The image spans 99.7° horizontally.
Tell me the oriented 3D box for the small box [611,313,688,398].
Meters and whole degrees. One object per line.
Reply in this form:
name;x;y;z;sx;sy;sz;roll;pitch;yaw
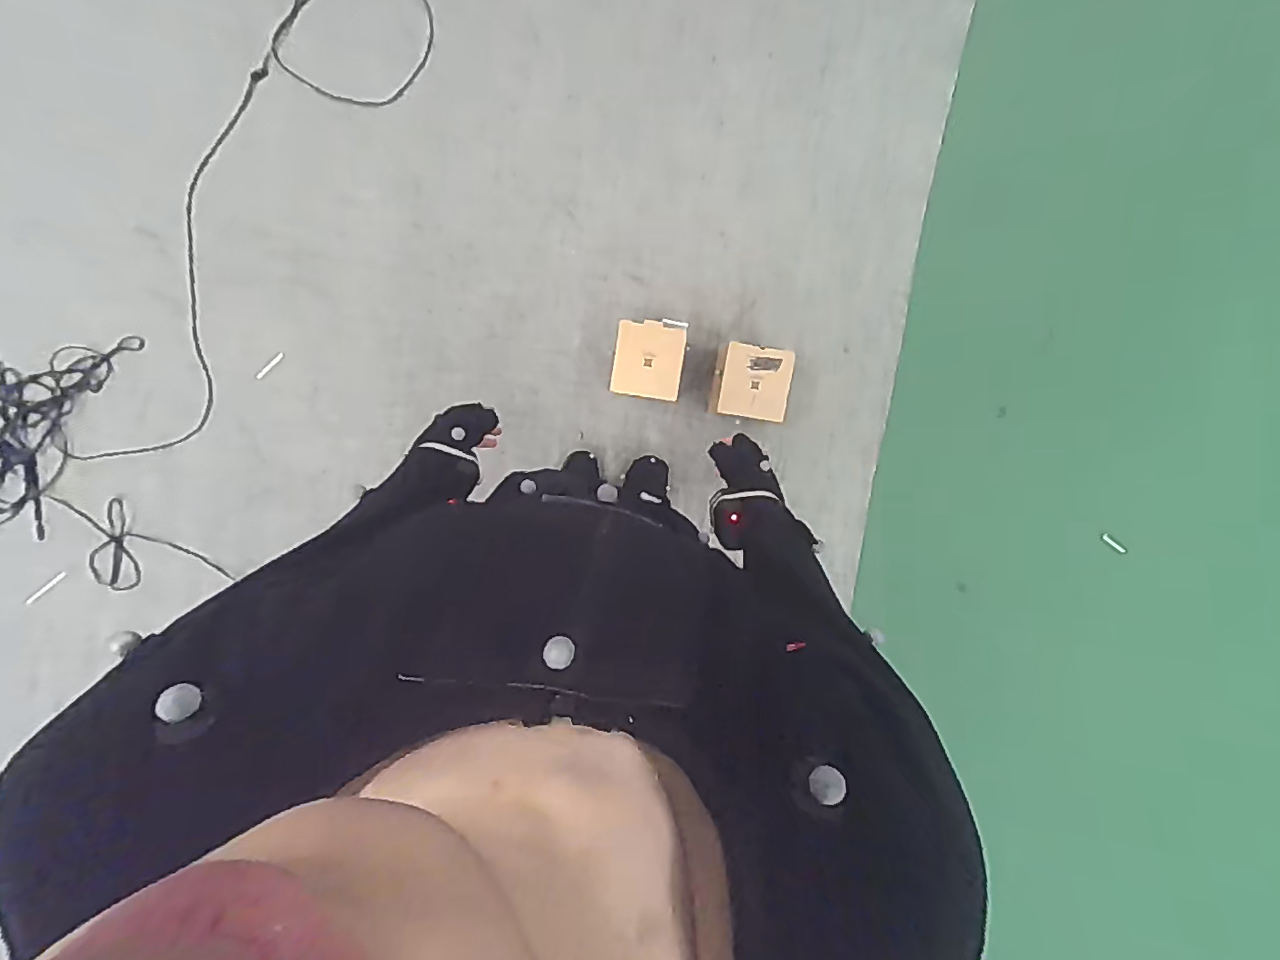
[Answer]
small box;0.023;-0.306;1.366;0.168;0.176;0.179;8;95;-2

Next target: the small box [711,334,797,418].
small box;0.281;-0.258;1.373;0.168;0.176;0.179;9;96;-2
